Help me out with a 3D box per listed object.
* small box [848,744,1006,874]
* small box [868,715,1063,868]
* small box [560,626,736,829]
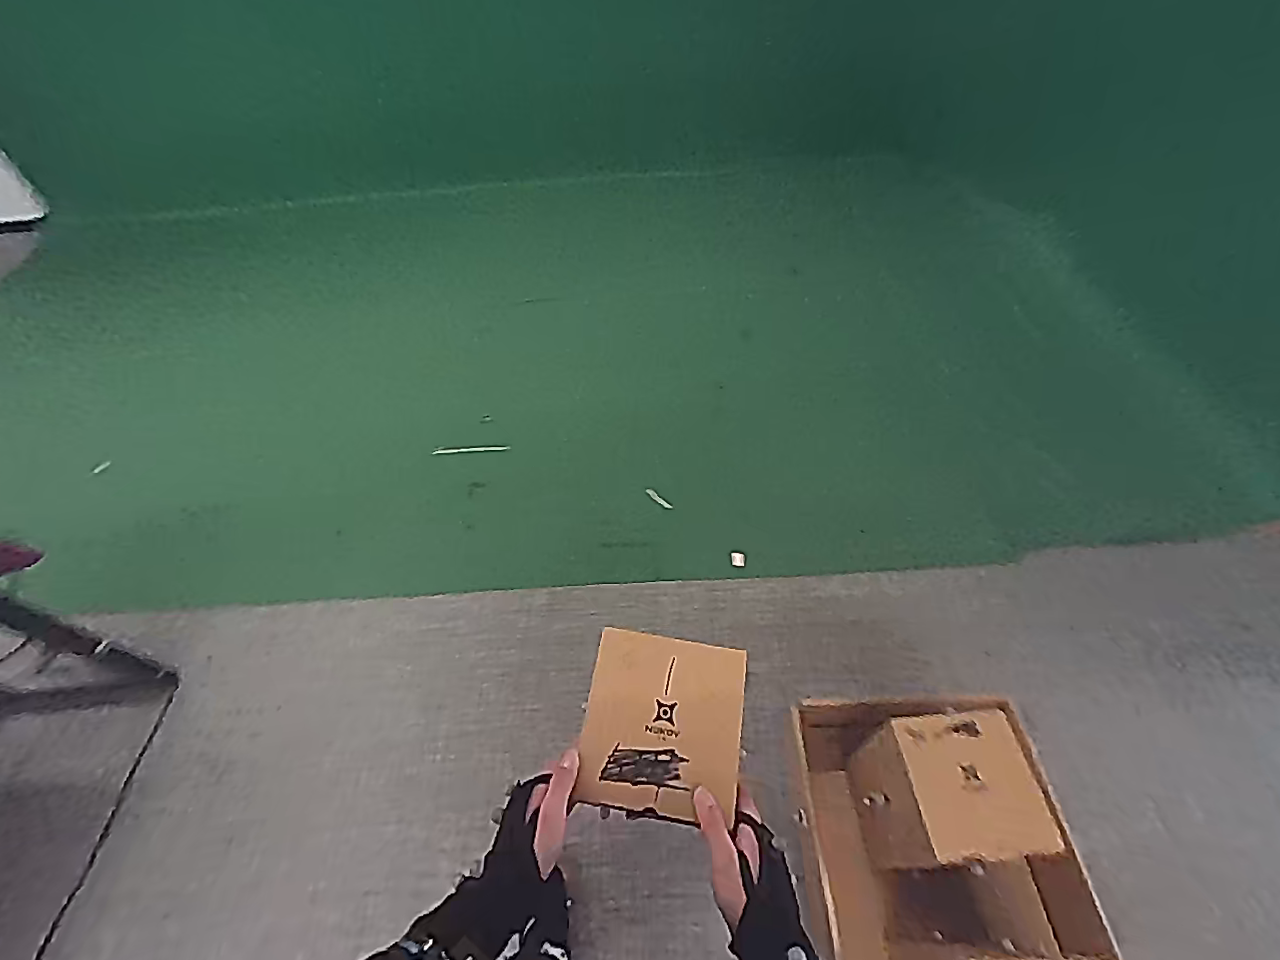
[{"bbox_3d":[0.474,0.565,0.929,0.168,0.176,0.179,-4,53,3],"label":"small box"},{"bbox_3d":[0.461,0.465,0.801,0.168,0.176,0.179,-5,52,2],"label":"small box"},{"bbox_3d":[0.015,0.291,0.634,0.168,0.176,0.179,8,59,5],"label":"small box"}]
